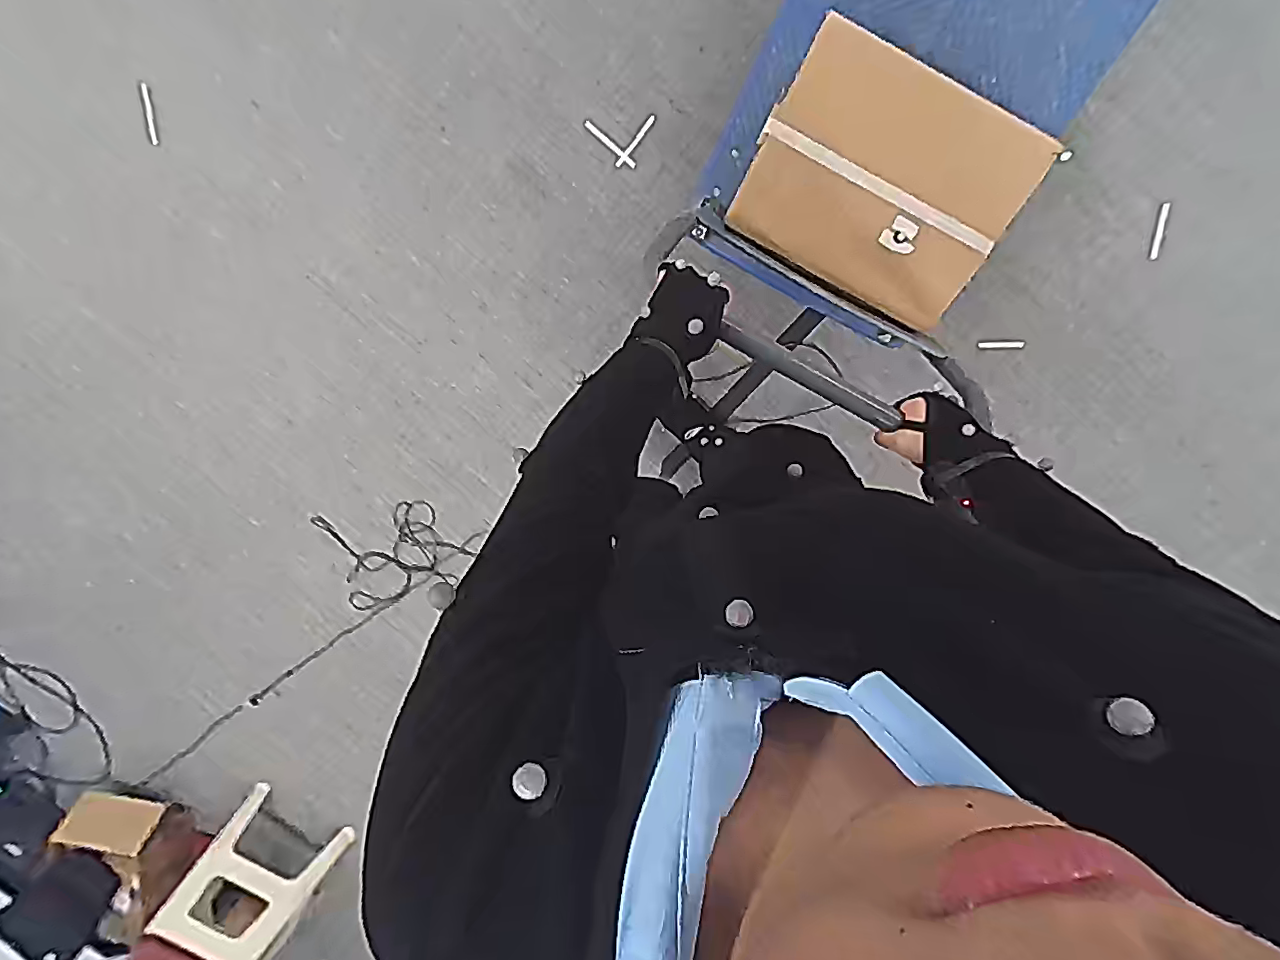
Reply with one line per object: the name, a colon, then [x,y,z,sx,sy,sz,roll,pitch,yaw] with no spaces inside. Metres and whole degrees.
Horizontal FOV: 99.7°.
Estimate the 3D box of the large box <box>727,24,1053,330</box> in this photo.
large box: [0.410,-0.533,1.007,0.408,0.320,0.320,27,118,-3]
